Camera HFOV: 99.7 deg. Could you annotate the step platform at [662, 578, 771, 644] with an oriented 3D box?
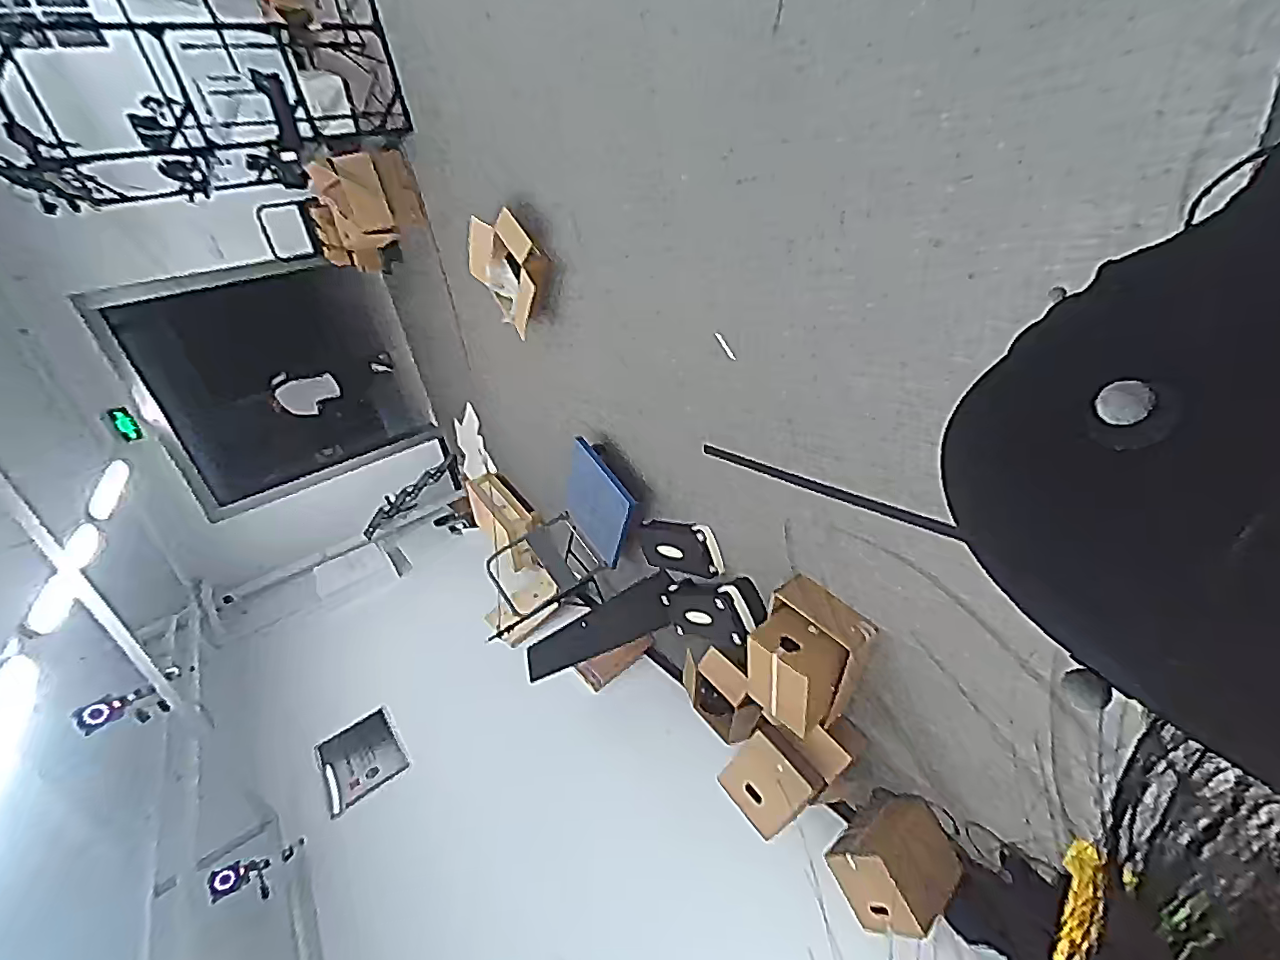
[{"bbox_3d":[0.388,0.709,2.960,0.684,0.204,0.286,-21,95,60],"label":"step platform"}]
